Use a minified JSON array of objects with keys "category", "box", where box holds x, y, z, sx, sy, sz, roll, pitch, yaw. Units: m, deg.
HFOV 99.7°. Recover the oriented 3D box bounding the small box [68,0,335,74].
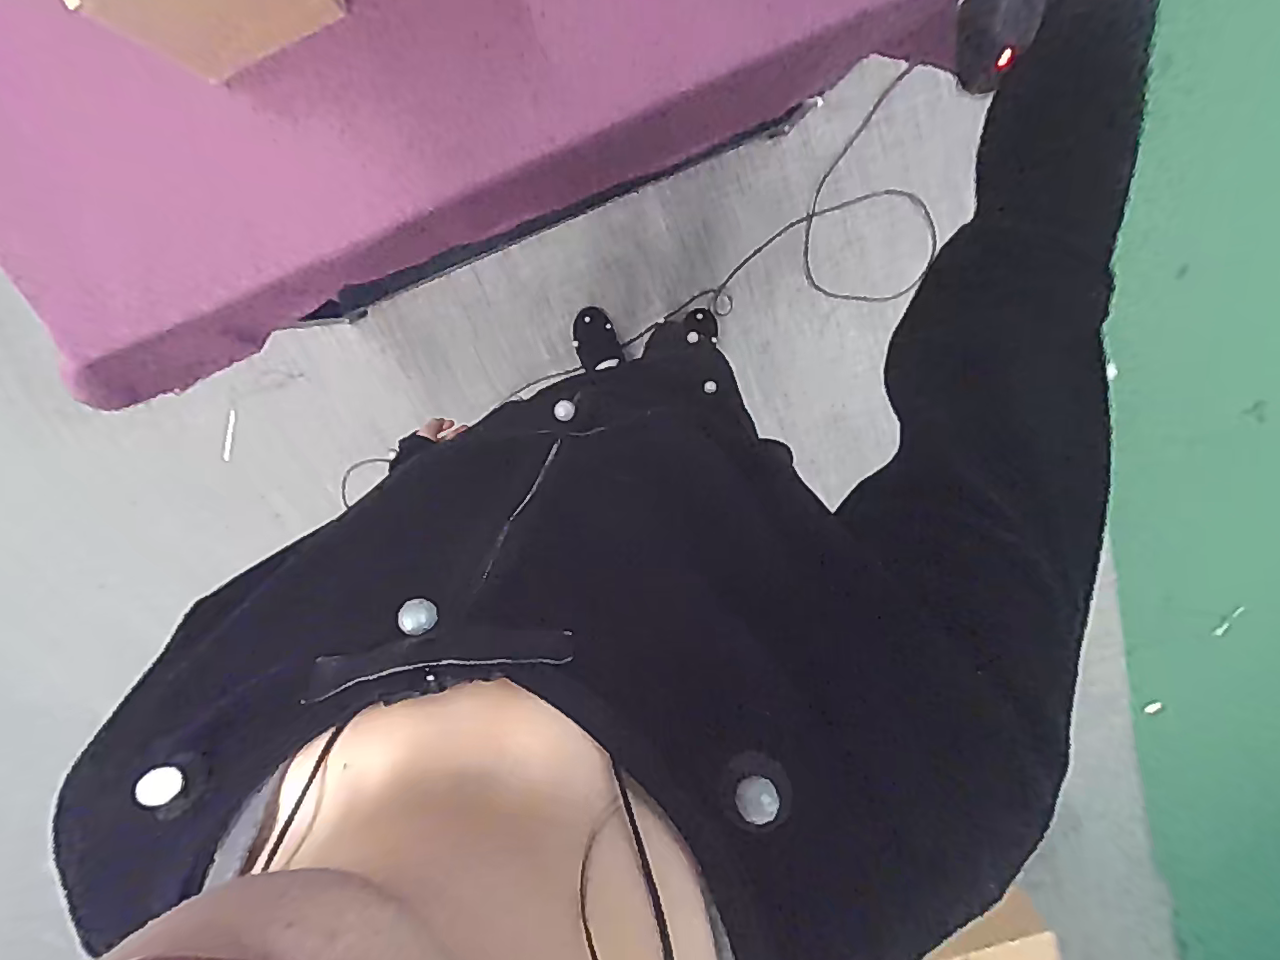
[{"category":"small box","box":[-0.423,-0.517,0.489,0.179,0.176,0.168,-24,108,5]}]
